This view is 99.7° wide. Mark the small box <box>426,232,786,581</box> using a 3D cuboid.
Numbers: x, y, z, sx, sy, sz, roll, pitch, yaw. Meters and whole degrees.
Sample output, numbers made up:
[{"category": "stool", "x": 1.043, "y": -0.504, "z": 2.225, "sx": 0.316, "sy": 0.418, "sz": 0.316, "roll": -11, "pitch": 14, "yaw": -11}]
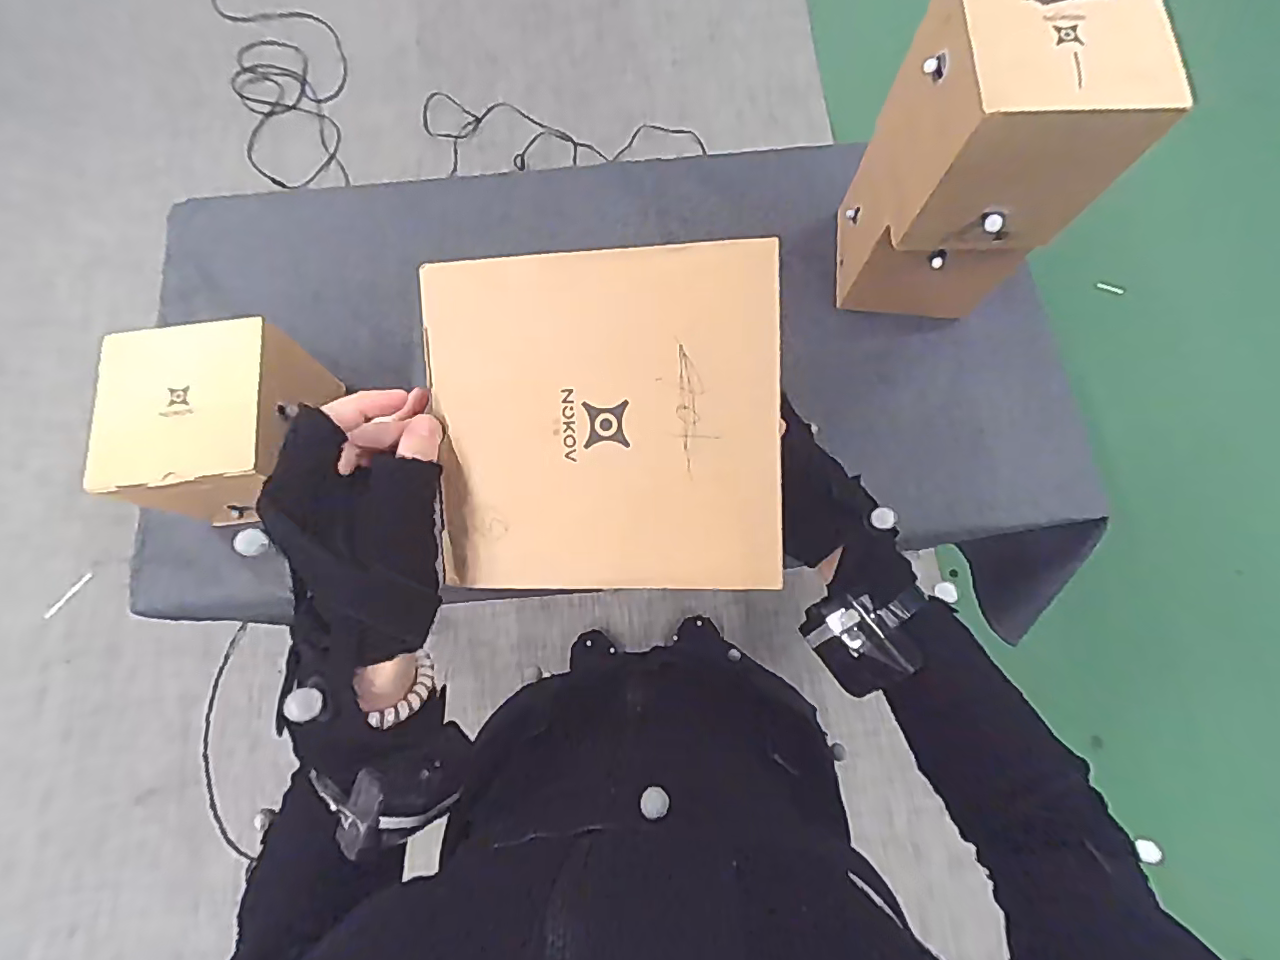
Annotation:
[{"category": "small box", "x": -0.010, "y": -0.041, "z": 0.342, "sx": 0.179, "sy": 0.176, "sz": 0.168, "roll": 0, "pitch": 97, "yaw": 6}]

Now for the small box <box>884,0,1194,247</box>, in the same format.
[{"category": "small box", "x": 0.354, "y": -0.355, "z": 0.522, "sx": 0.168, "sy": 0.176, "sz": 0.179, "roll": 0, "pitch": 76, "yaw": 1}]

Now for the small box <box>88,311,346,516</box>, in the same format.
[{"category": "small box", "x": -0.463, "y": -0.067, "z": 0.624, "sx": 0.168, "sy": 0.176, "sz": 0.179, "roll": -7, "pitch": 76, "yaw": -2}]

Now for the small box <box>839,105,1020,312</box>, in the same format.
[{"category": "small box", "x": 0.365, "y": -0.332, "z": 0.685, "sx": 0.179, "sy": 0.176, "sz": 0.168, "roll": 6, "pitch": 76, "yaw": 2}]
